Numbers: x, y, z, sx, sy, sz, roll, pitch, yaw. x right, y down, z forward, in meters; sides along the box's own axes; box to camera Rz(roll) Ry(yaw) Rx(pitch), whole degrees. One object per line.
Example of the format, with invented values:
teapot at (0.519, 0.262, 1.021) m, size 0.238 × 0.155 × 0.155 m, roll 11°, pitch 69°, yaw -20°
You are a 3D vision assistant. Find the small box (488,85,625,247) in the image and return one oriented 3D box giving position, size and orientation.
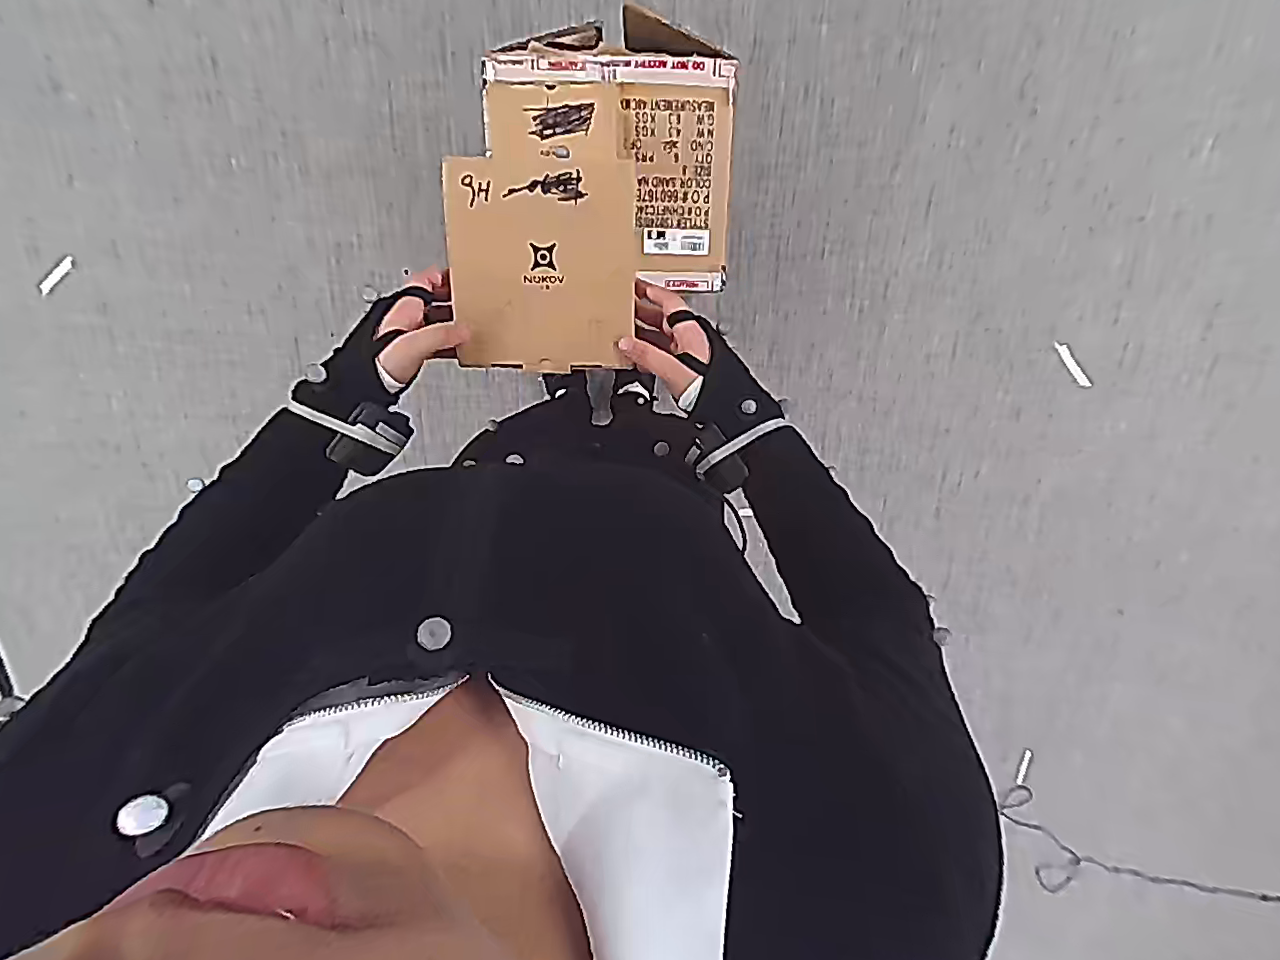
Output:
small box at (-0.109, -0.435, 0.774) m, size 0.168 × 0.176 × 0.179 m, roll 1°, pitch 111°, yaw 1°
